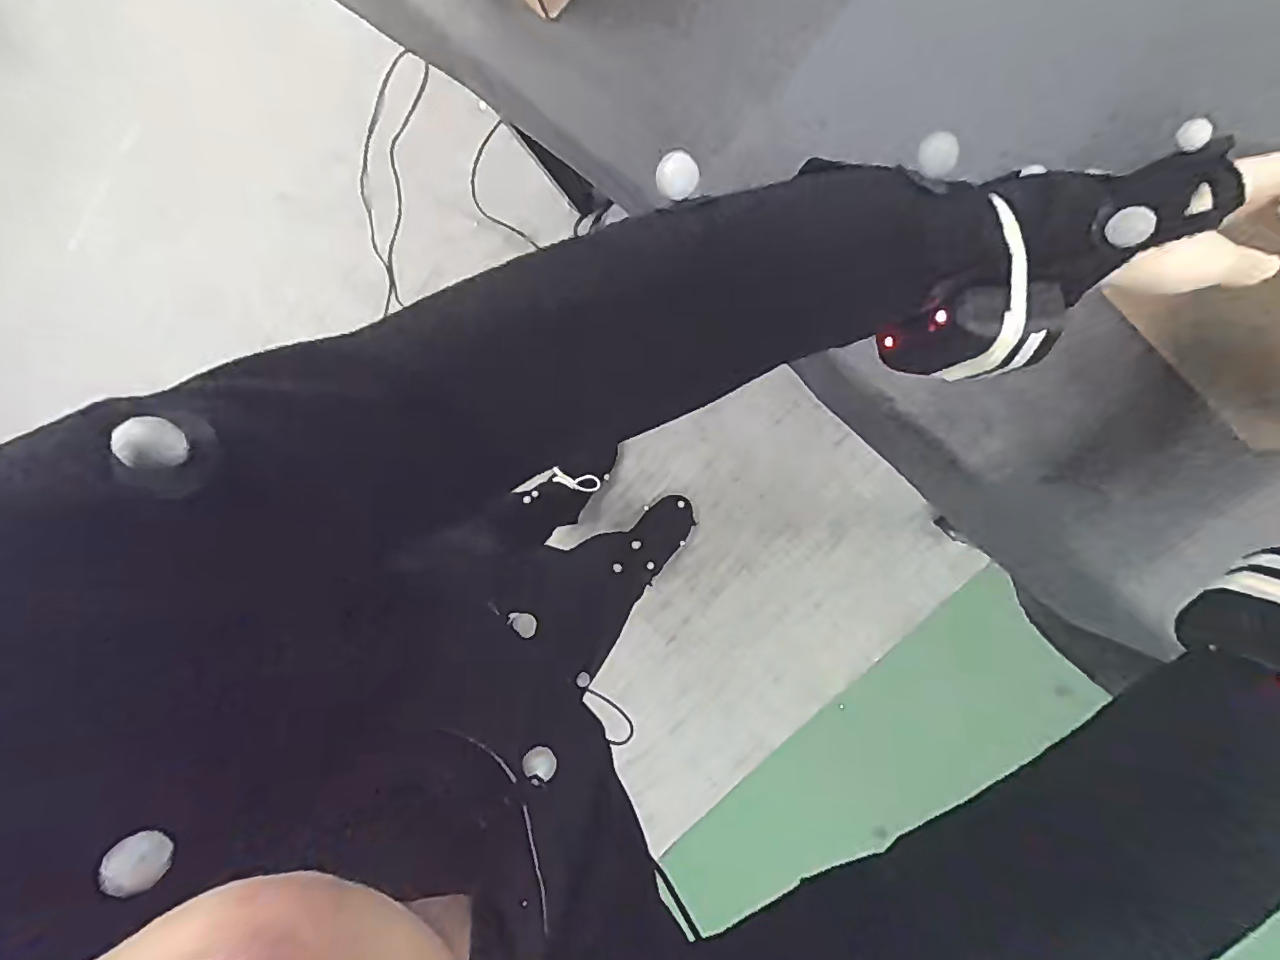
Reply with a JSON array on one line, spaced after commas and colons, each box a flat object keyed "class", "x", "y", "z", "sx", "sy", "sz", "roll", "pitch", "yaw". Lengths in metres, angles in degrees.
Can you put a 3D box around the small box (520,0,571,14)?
[{"class": "small box", "x": -0.113, "y": -0.582, "z": 0.478, "sx": 0.168, "sy": 0.176, "sz": 0.179, "roll": -45, "pitch": 83, "yaw": 10}]
